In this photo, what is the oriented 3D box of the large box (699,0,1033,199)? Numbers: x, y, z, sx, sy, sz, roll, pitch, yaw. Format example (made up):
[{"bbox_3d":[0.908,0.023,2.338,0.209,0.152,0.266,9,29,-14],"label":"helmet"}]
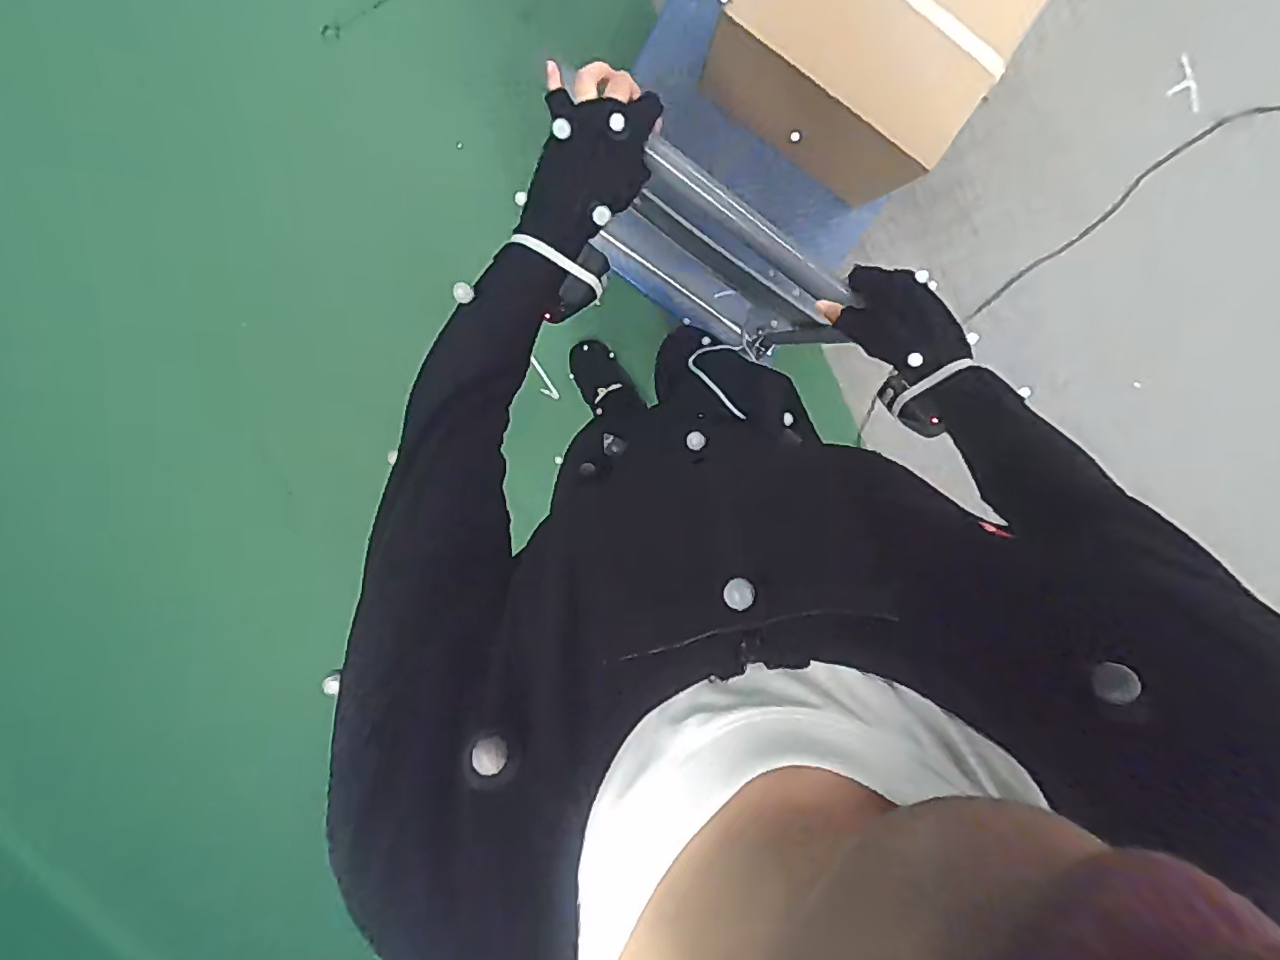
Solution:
[{"bbox_3d":[0.361,-0.764,0.935,0.408,0.320,0.320,30,103,-9],"label":"large box"}]
